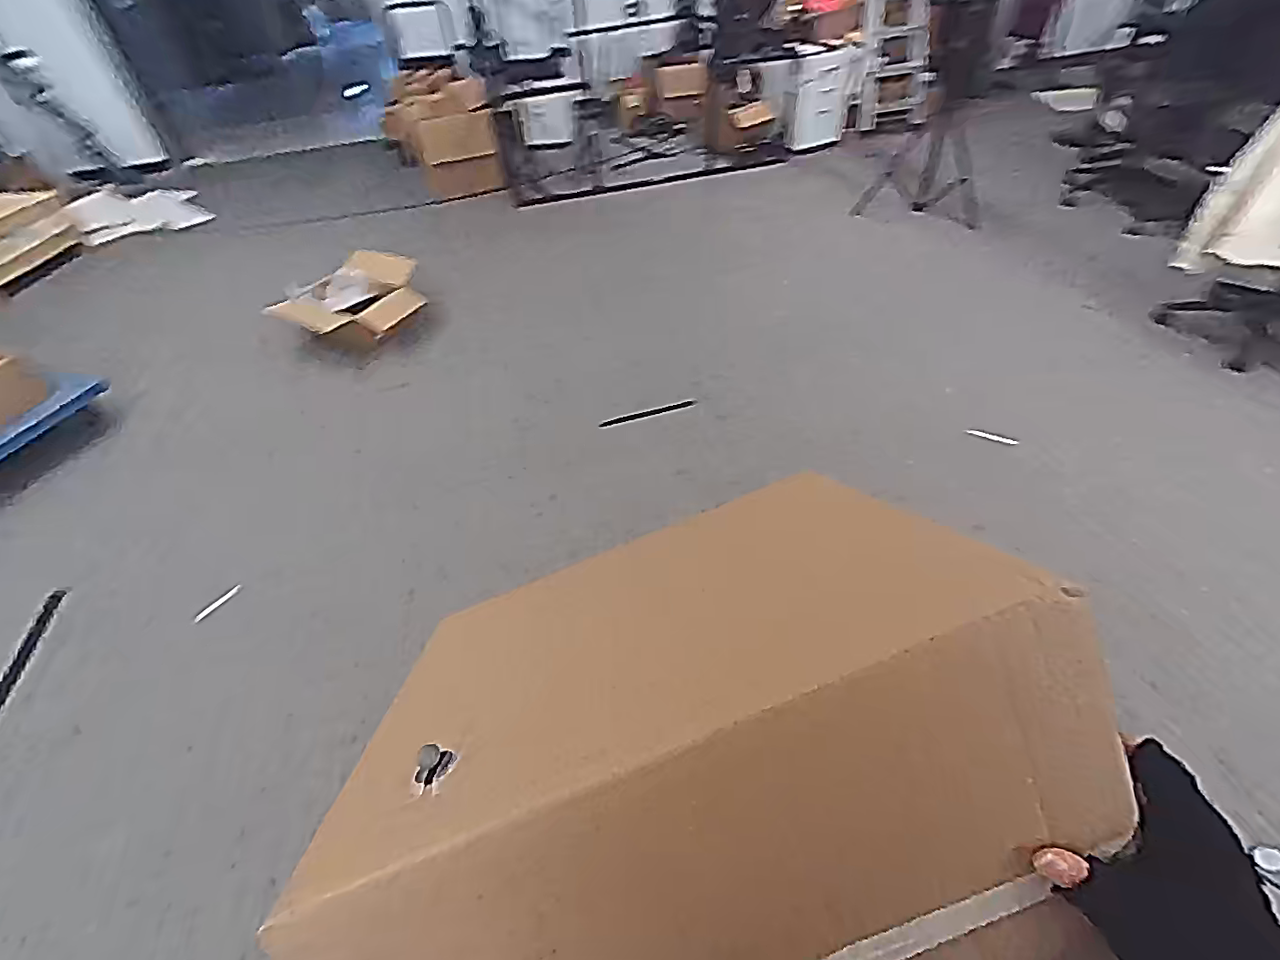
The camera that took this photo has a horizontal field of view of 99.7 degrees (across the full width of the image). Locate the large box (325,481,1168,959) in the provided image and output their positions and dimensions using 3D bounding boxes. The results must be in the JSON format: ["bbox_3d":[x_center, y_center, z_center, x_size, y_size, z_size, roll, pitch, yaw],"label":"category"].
[{"bbox_3d":[0.069,0.233,0.436,0.408,0.320,0.320,-22,12,0],"label":"large box"}]
